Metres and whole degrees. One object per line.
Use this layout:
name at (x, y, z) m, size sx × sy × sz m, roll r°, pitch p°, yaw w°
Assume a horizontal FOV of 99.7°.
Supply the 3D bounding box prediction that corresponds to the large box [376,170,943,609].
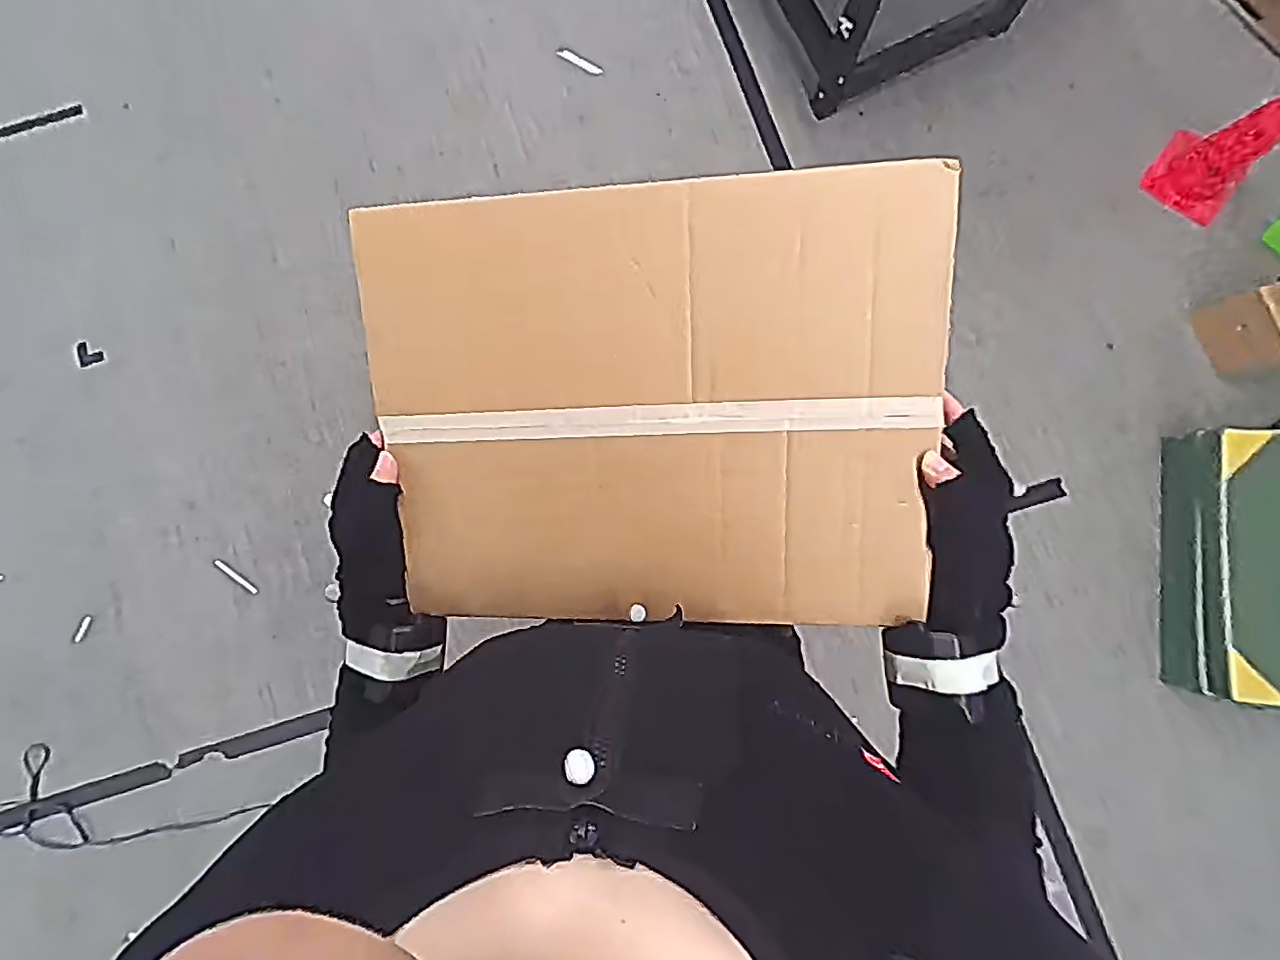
large box at (0.024, -0.078, 0.549) m, size 0.408 × 0.320 × 0.320 m, roll -1°, pitch 104°, yaw 8°
